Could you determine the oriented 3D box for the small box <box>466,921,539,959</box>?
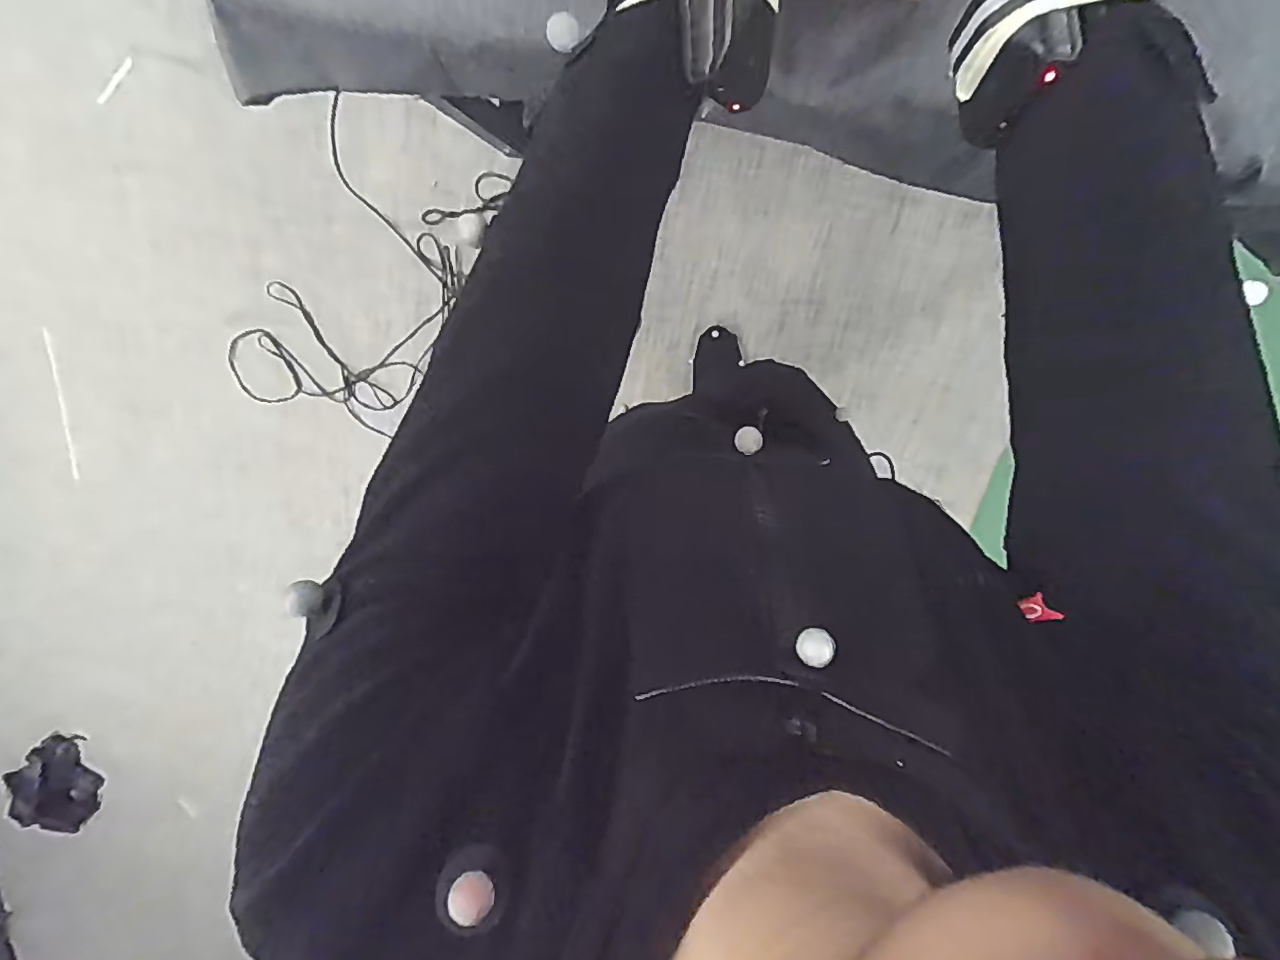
[{"bbox_3d":[-0.398,1.352,1.470,0.179,0.176,0.168,19,111,1],"label":"small box"}]
